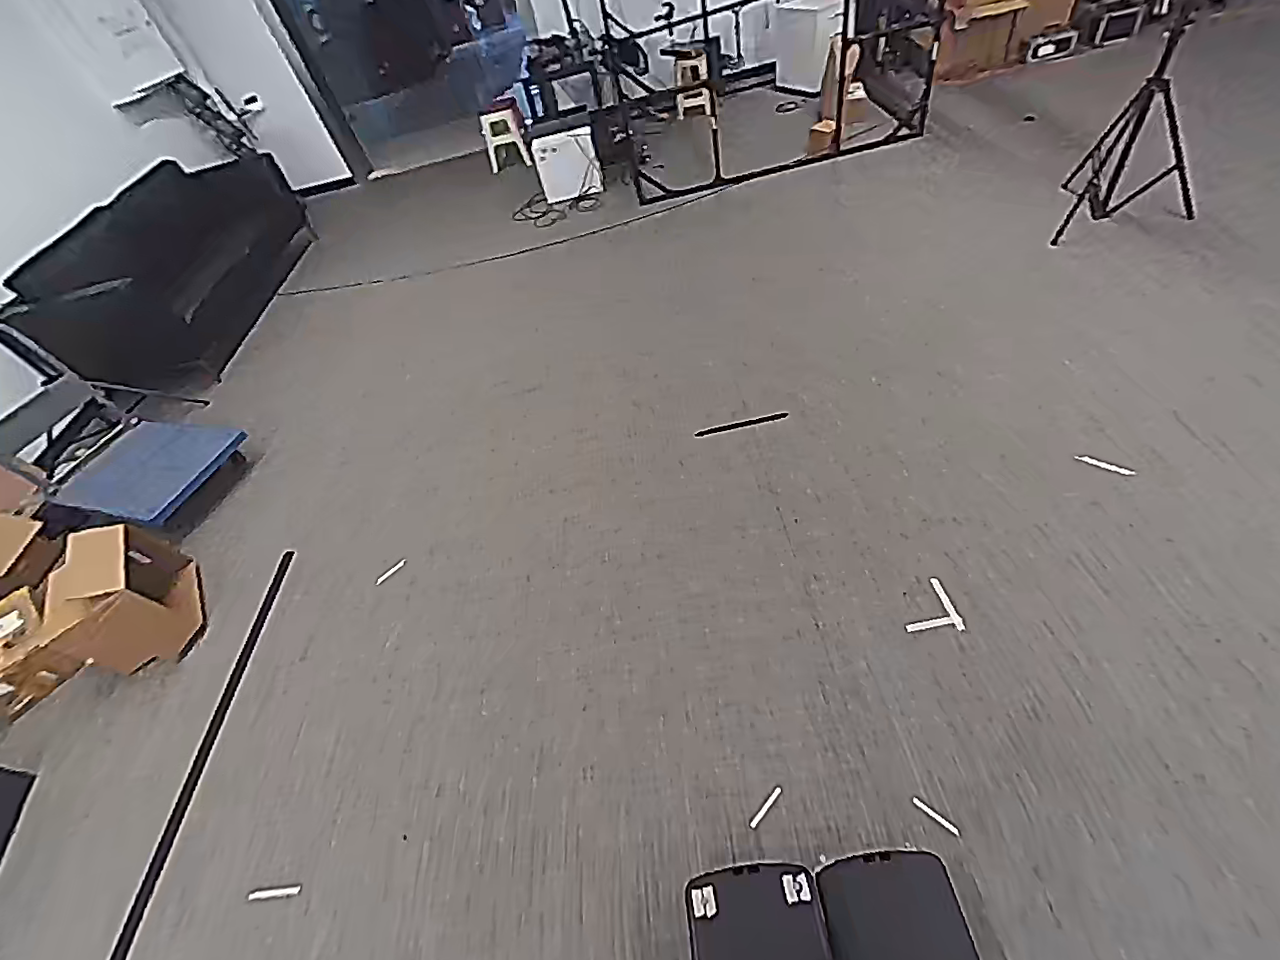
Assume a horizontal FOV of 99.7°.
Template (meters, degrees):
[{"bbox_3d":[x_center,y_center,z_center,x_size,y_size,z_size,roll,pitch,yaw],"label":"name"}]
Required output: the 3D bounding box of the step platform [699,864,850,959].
[{"bbox_3d":[0.300,1.129,0.997,0.286,0.204,0.684,-12,47,4],"label":"step platform"}]
